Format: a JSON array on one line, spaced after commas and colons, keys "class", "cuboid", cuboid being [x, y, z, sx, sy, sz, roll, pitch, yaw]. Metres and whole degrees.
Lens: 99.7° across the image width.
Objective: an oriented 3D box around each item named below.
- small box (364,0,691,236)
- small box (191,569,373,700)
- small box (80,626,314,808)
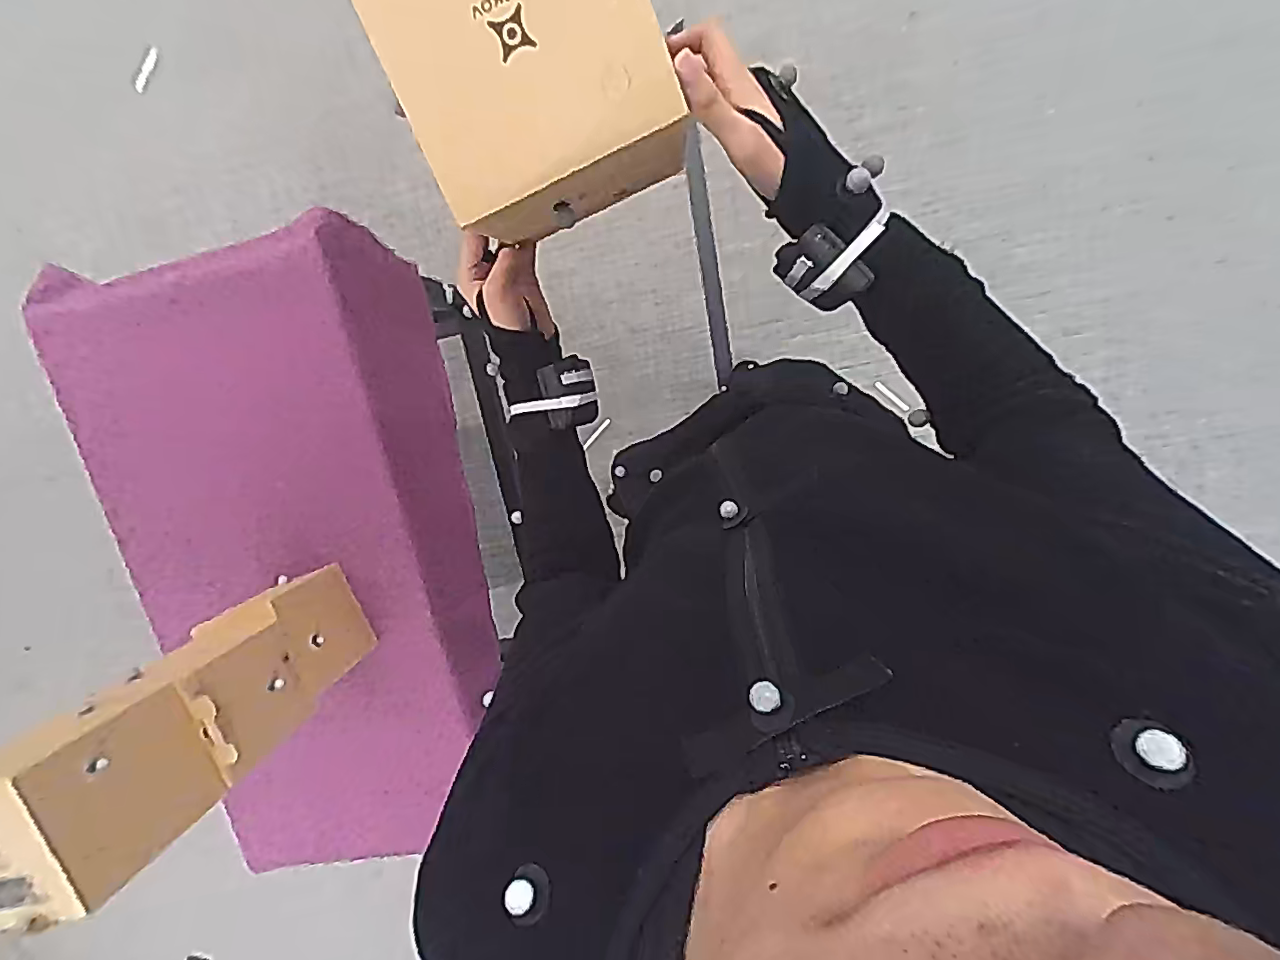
[{"class": "small box", "cuboid": [-0.065, -0.298, 0.397, 0.168, 0.176, 0.179, -20, 105, 11]}, {"class": "small box", "cuboid": [-0.614, 0.283, 0.952, 0.168, 0.176, 0.179, -21, 98, 11]}, {"class": "small box", "cuboid": [-0.635, 0.340, 0.798, 0.179, 0.176, 0.168, -15, 101, 10]}]
